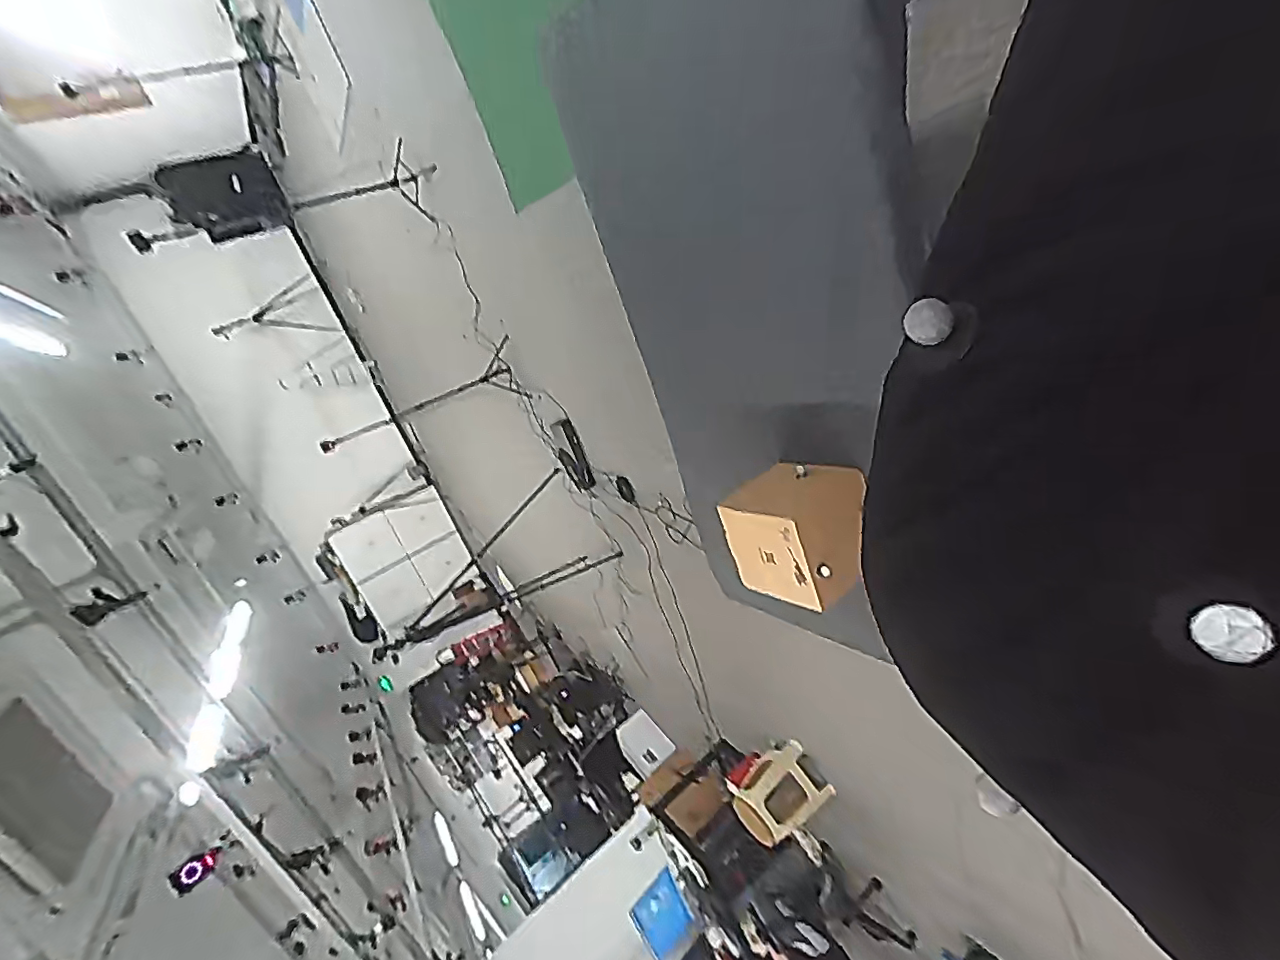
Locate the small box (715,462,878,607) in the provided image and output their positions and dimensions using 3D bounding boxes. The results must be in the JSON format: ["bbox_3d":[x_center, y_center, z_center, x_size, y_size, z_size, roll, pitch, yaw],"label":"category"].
[{"bbox_3d":[0.261,0.080,0.903,0.179,0.176,0.168,9,125,58],"label":"small box"}]
